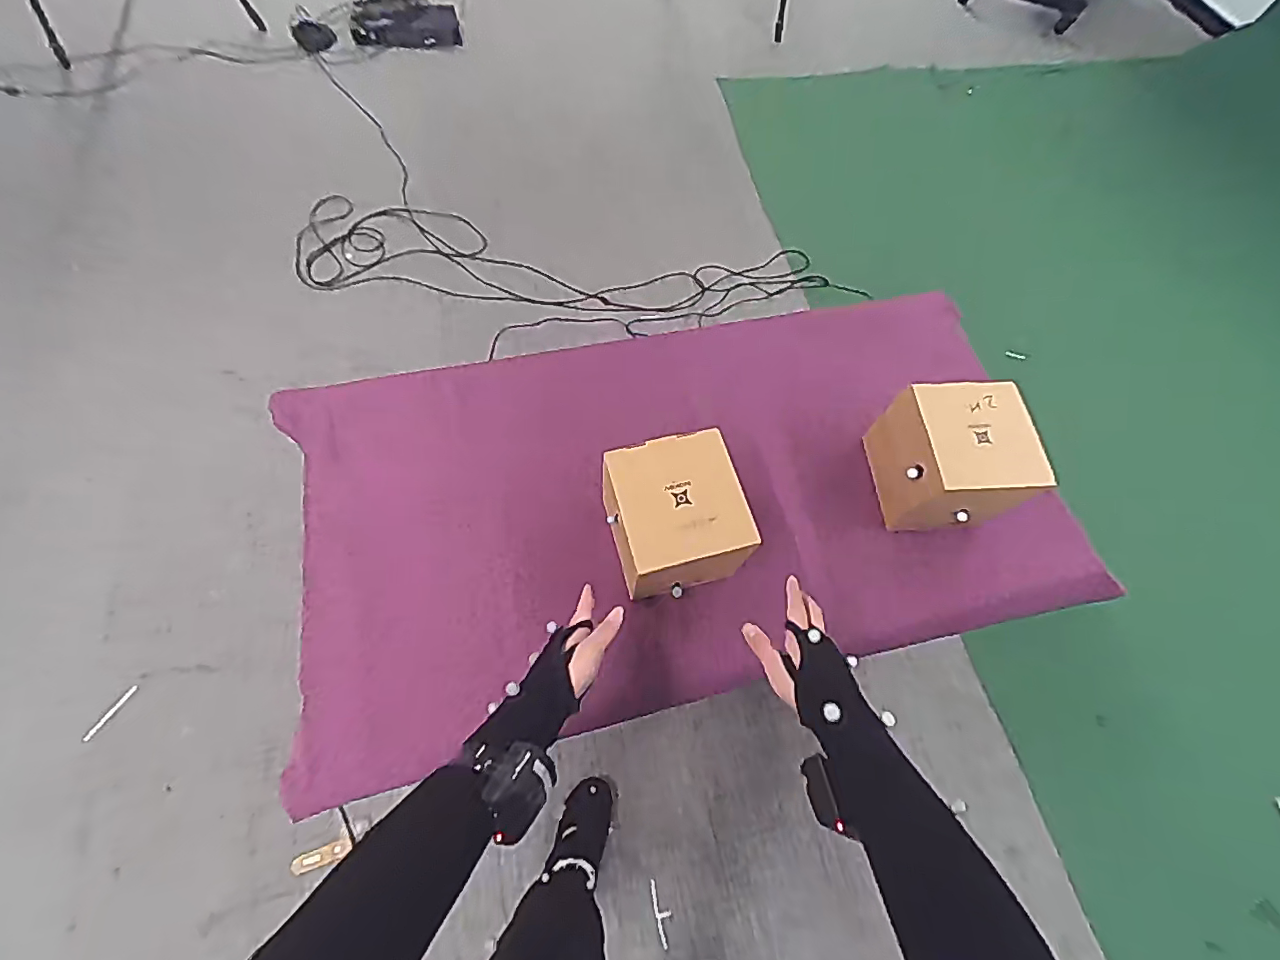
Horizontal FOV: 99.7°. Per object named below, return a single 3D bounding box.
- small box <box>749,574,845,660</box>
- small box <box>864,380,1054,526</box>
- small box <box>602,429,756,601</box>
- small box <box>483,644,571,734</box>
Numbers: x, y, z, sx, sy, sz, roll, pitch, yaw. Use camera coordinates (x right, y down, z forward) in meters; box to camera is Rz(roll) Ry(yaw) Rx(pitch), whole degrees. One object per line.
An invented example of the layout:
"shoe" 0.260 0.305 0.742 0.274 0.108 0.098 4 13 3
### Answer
"small box" 0.410 0.373 1.444 0.168 0.176 0.179 -14 66 -10
"small box" 0.474 -0.033 0.835 0.168 0.176 0.179 -2 65 -4
"small box" 0.041 0.055 0.768 0.168 0.176 0.179 -13 67 -9
"small box" -0.275 0.520 1.333 0.179 0.176 0.168 -12 66 -9
